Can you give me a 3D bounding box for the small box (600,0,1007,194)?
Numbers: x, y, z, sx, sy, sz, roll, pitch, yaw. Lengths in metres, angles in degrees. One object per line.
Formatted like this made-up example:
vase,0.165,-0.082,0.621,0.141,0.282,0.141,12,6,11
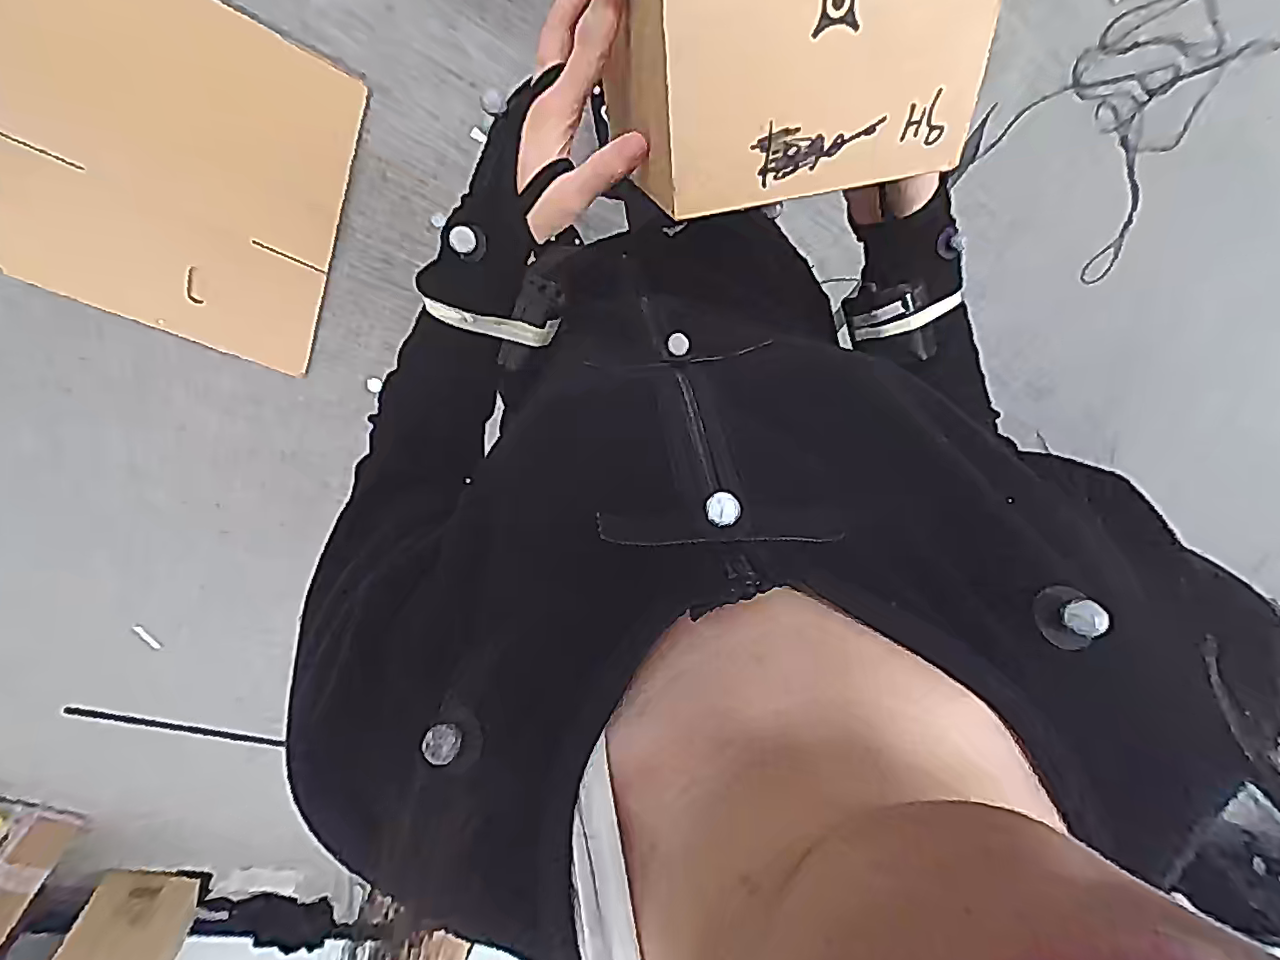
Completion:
small box,0.070,-0.275,0.288,0.168,0.176,0.179,-14,131,-6
